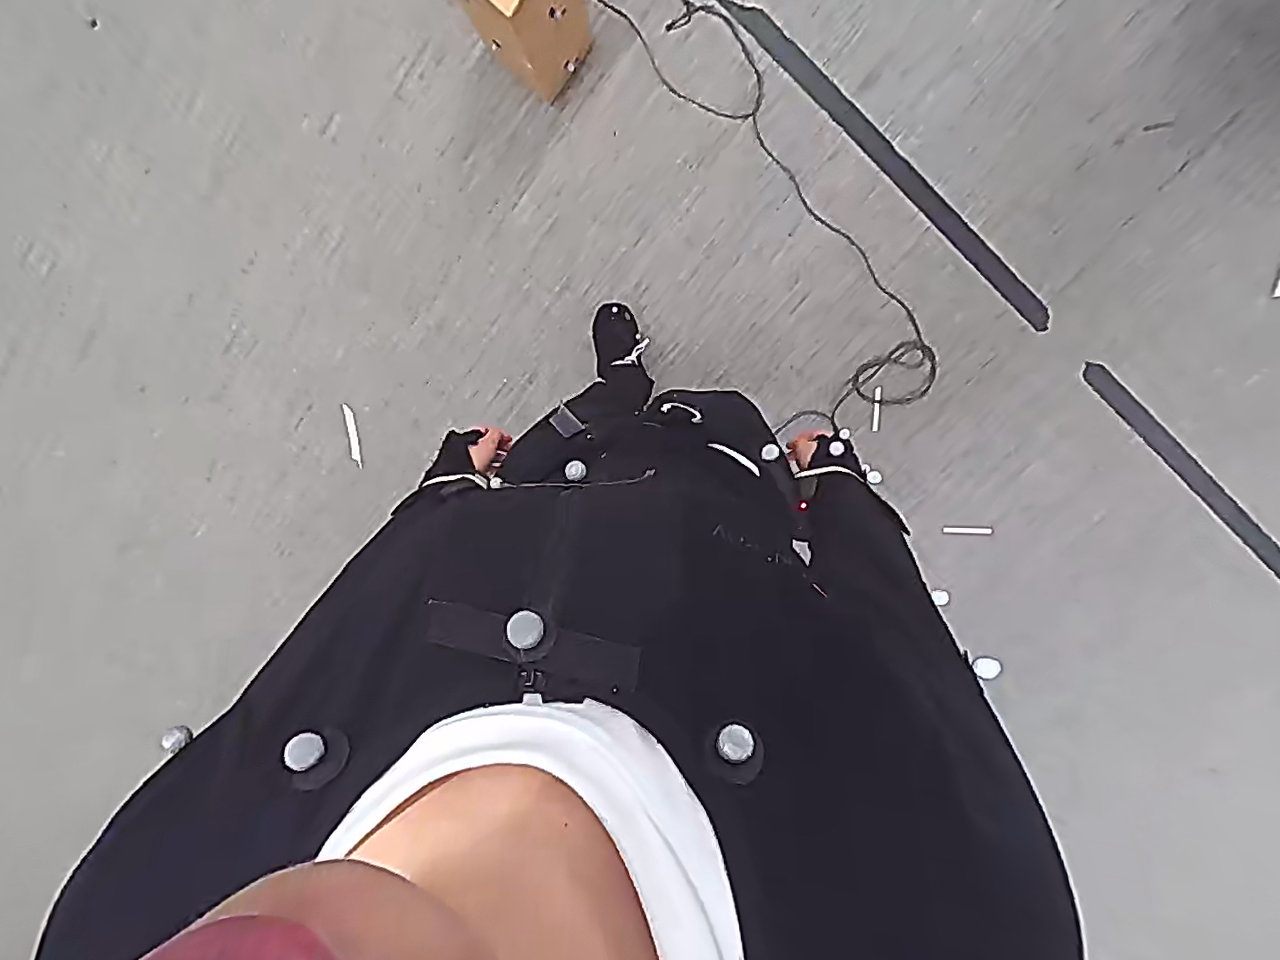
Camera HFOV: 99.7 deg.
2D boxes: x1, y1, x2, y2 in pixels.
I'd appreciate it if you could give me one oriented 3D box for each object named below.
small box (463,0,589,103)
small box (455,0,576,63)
[{"bbox_3d":[-0.224,-0.911,1.083,0.179,0.176,0.168,40,102,-8],"label":"small box"},{"bbox_3d":[-0.230,-0.872,0.923,0.179,0.176,0.168,38,103,-7],"label":"small box"}]
